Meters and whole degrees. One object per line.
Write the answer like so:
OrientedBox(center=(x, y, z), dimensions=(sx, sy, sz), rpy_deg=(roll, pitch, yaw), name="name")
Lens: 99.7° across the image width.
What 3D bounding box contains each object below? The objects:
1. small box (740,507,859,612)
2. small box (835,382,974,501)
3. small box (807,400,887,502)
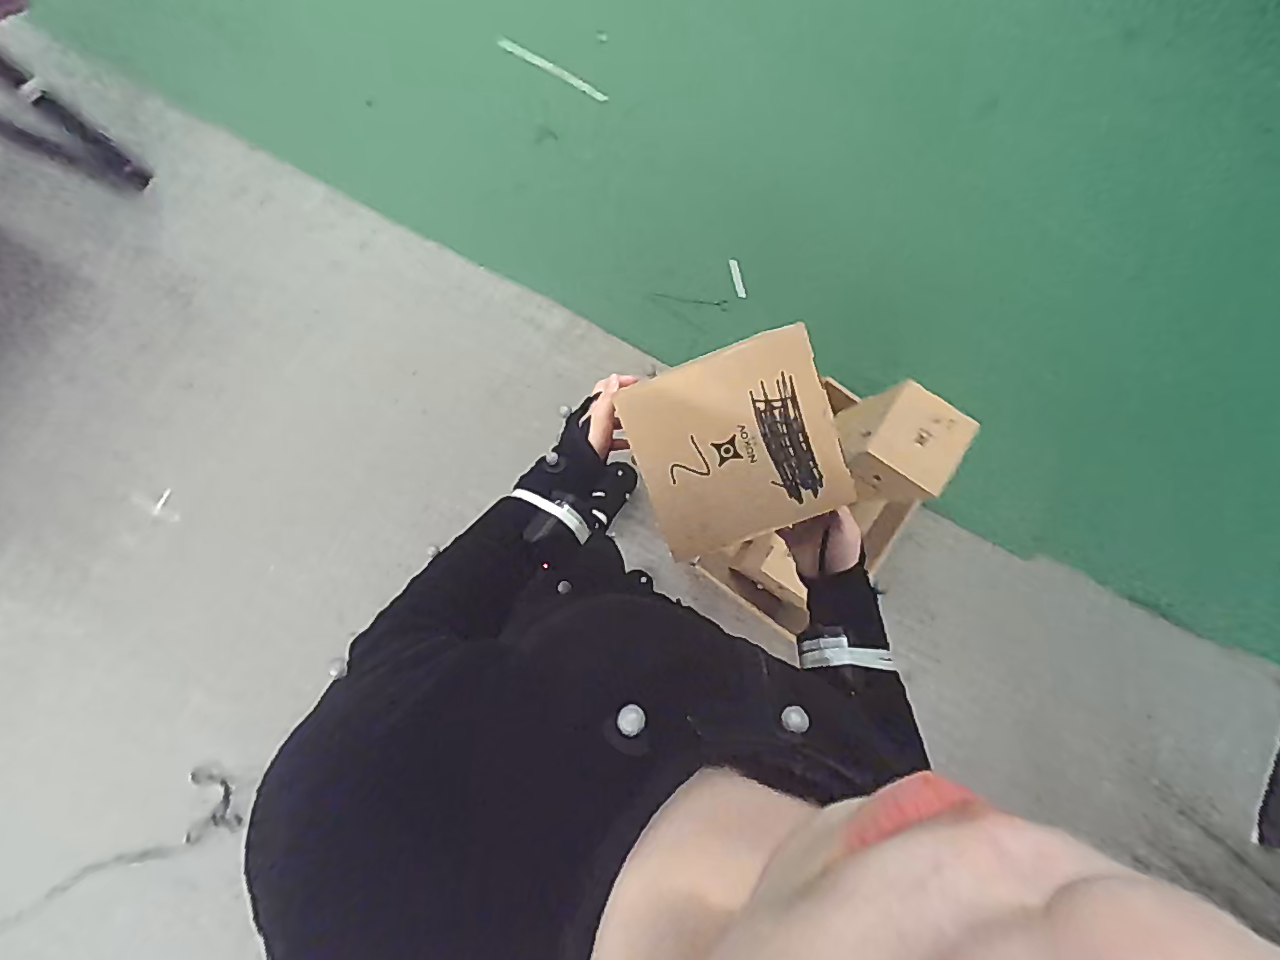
OrientedBox(center=(0.357, 0.182, 1.245), dimensions=(0.179, 0.176, 0.168), rpy_deg=(35, 81, -1), name="small box")
OrientedBox(center=(0.537, -0.070, 1.127), dimensions=(0.168, 0.176, 0.179), rpy_deg=(35, 83, 0), name="small box")
OrientedBox(center=(0.536, -0.061, 1.292), dimensions=(0.179, 0.176, 0.168), rpy_deg=(36, 83, 1), name="small box")
